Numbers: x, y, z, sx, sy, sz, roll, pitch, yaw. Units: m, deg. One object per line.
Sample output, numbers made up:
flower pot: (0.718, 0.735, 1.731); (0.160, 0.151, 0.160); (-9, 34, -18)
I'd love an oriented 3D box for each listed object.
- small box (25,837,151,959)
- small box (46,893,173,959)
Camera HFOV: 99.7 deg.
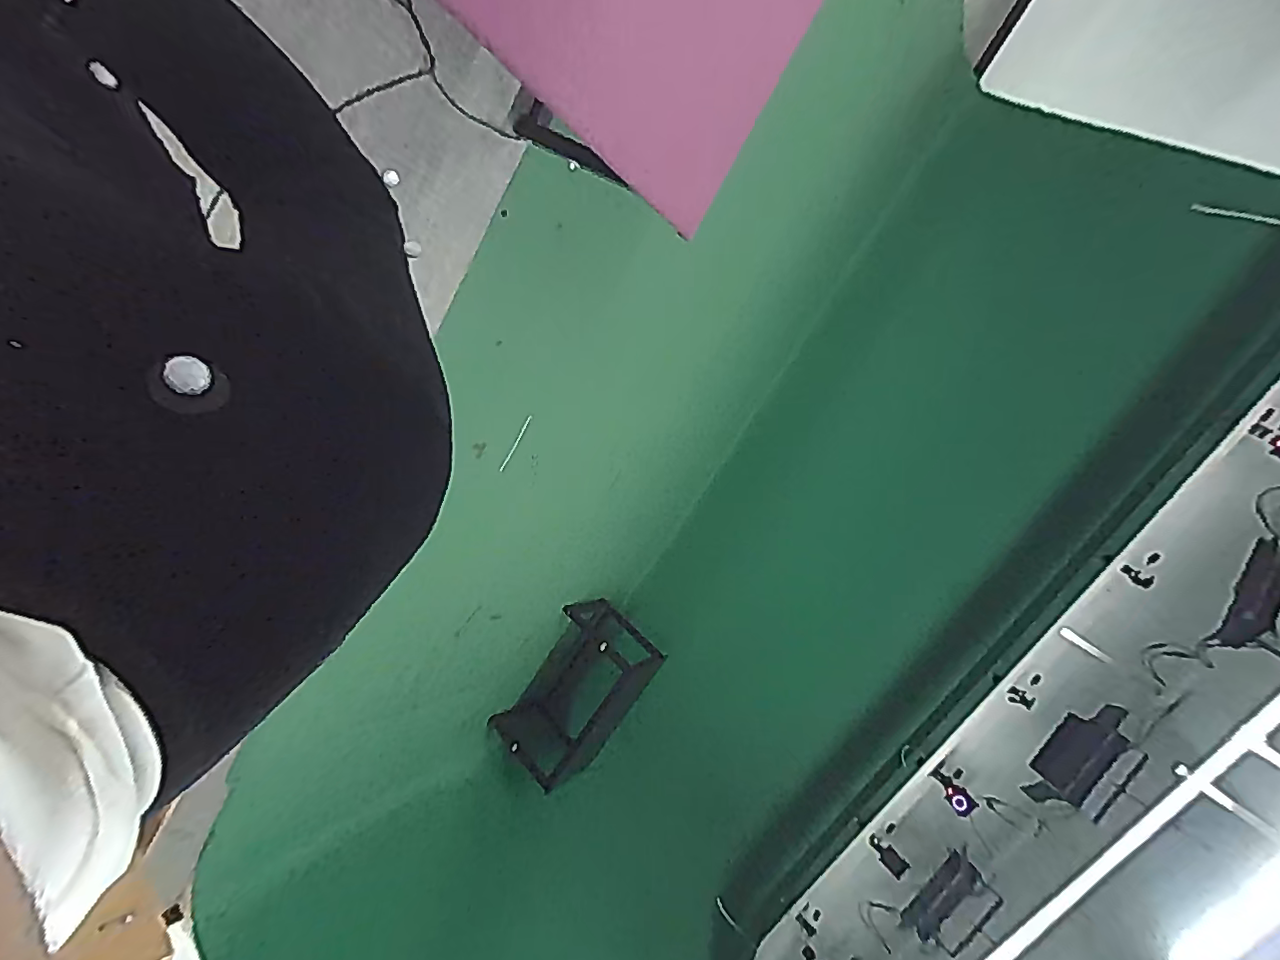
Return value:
small box: (-1.370, 1.043, 1.339); (0.179, 0.176, 0.168); (-56, 155, 10)
small box: (-1.255, 1.135, 1.269); (0.179, 0.176, 0.168); (-56, 156, 9)
